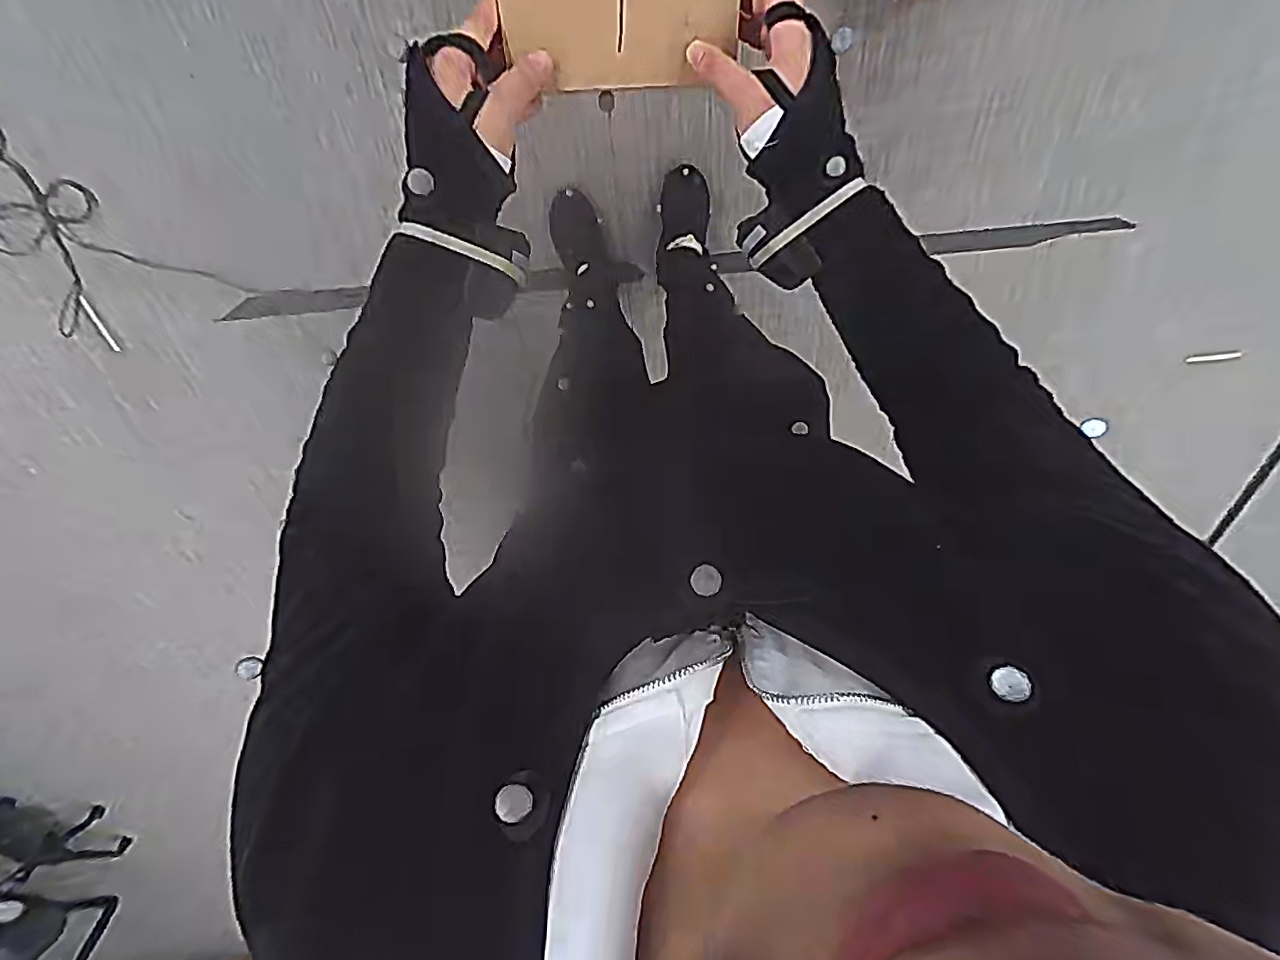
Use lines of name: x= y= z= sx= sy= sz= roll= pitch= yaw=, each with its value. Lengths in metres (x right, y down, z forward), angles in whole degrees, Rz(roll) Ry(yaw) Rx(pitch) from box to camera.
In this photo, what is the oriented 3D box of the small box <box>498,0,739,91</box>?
small box: x=-0.024 y=-0.402 z=0.405 sx=0.168 sy=0.176 sz=0.179 roll=-6 pitch=127 yaw=-4
